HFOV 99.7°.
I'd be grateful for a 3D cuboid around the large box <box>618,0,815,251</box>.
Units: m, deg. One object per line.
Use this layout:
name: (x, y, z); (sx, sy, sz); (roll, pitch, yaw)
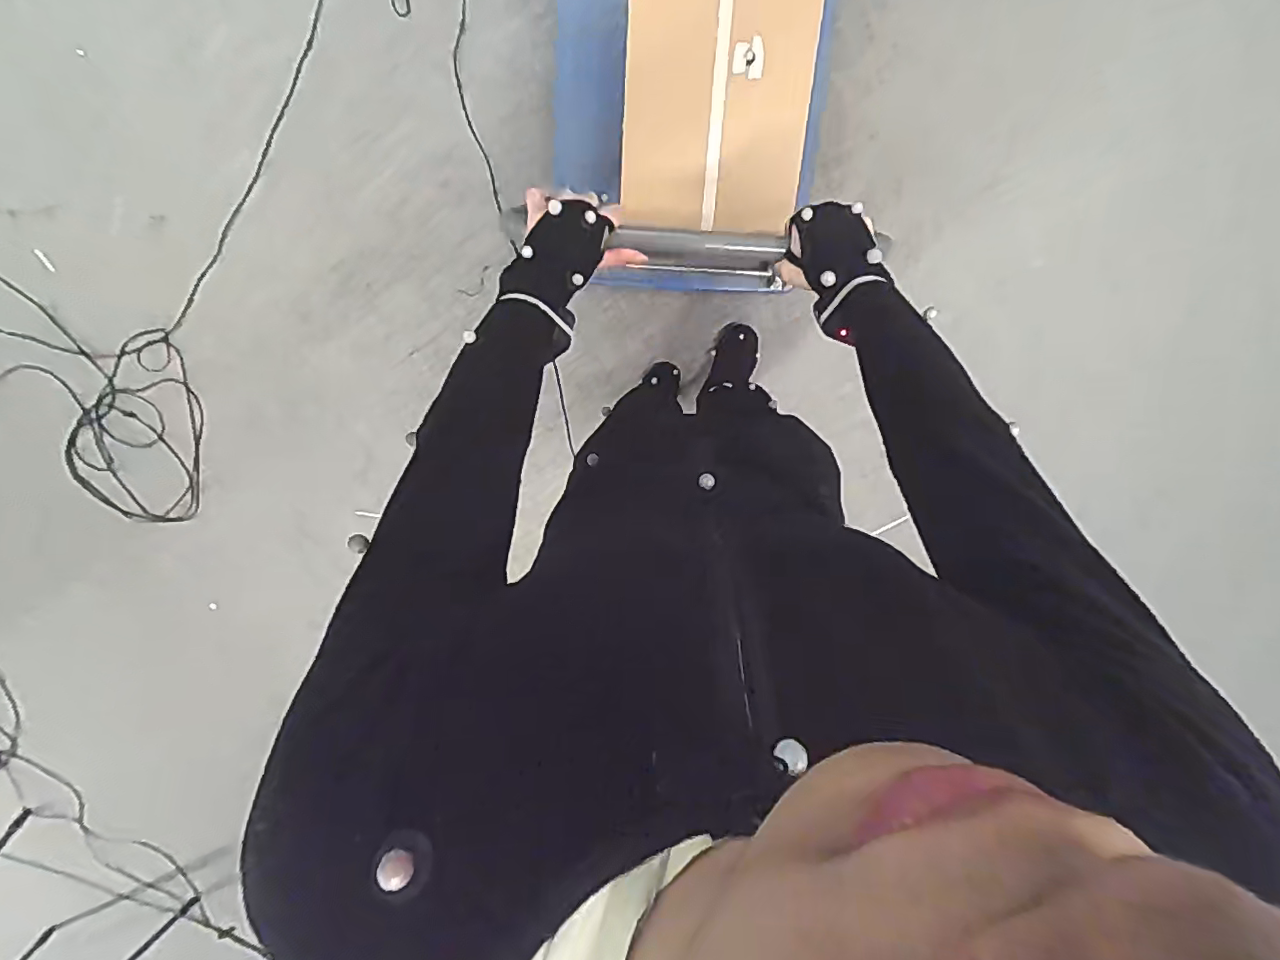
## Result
large box: (0.132, -0.686, 1.075); (0.320, 0.320, 0.408); (4, 109, 1)
